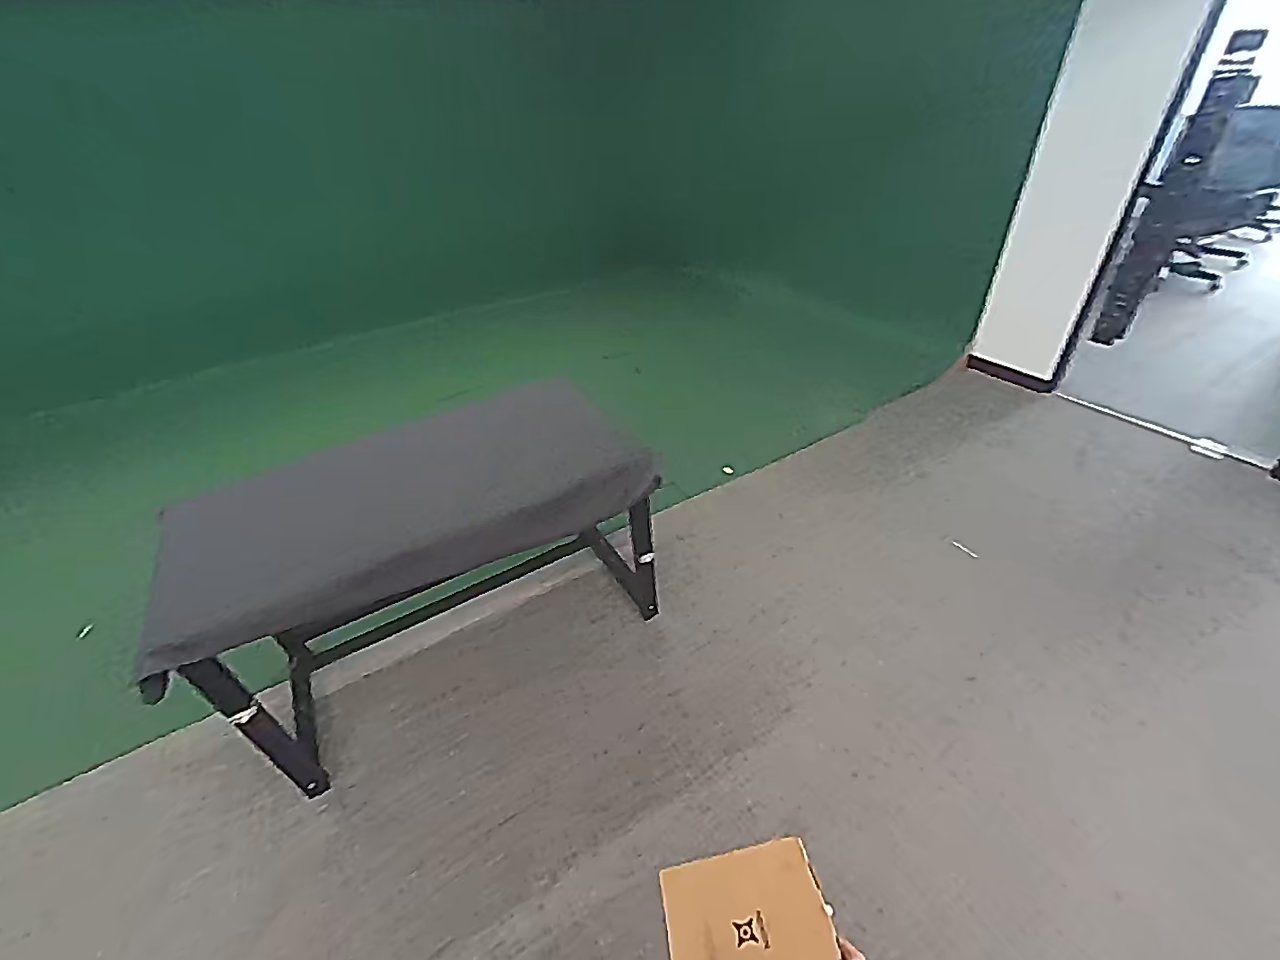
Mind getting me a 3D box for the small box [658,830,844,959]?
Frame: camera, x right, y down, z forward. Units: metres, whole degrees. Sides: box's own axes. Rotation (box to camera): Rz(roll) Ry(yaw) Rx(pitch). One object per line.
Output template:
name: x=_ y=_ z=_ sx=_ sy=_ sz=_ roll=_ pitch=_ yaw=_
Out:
small box: x=0.127 y=0.538 z=0.603 sx=0.179 sy=0.176 sz=0.168 roll=-13 pitch=23 yaw=1
